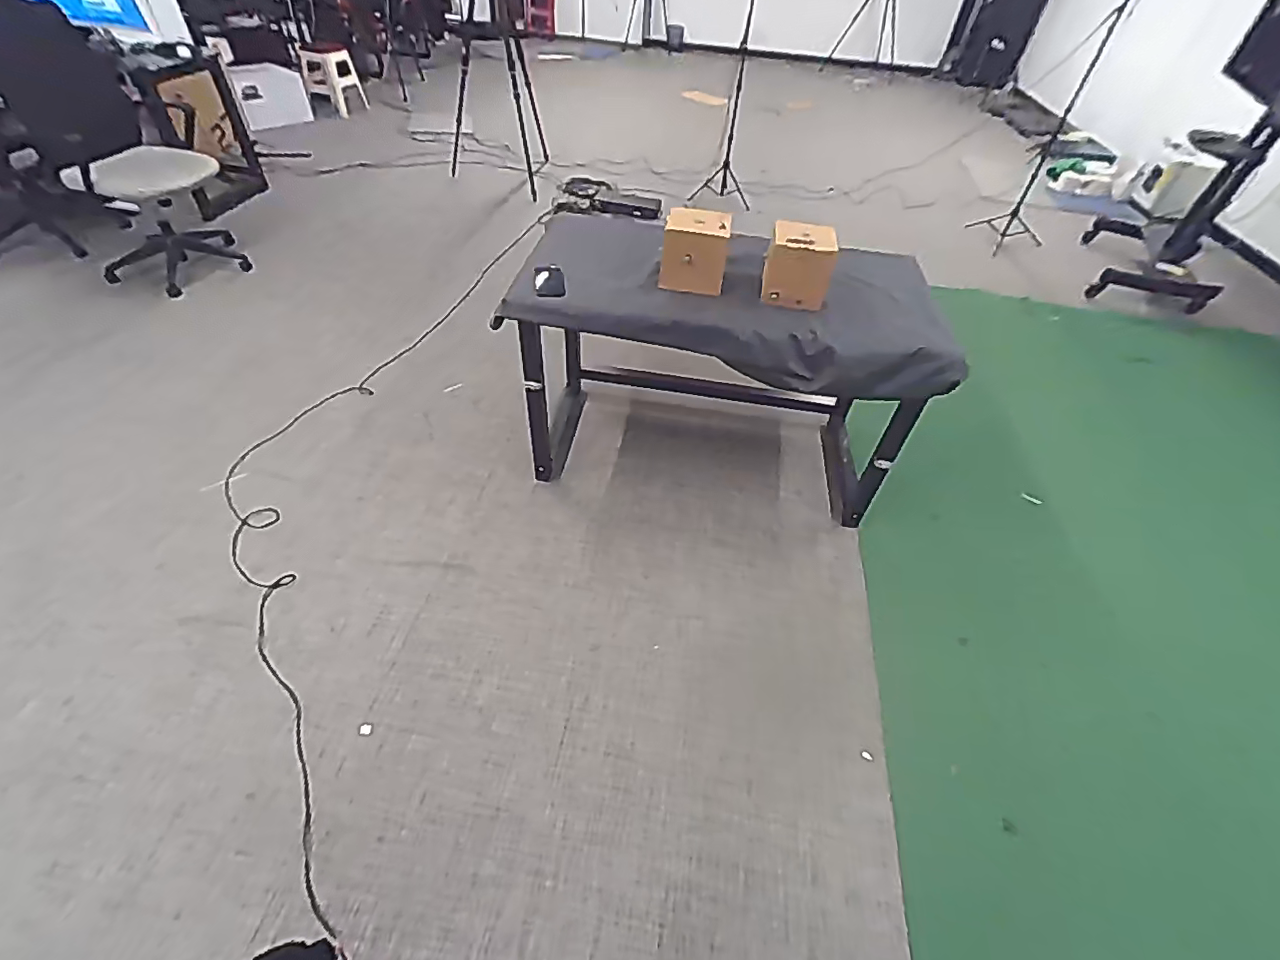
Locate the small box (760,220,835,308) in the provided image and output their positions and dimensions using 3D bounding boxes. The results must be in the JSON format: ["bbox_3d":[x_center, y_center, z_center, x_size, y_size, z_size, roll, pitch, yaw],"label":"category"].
[{"bbox_3d":[0.437,-0.605,1.518,0.168,0.176,0.179,10,46,4],"label":"small box"}]

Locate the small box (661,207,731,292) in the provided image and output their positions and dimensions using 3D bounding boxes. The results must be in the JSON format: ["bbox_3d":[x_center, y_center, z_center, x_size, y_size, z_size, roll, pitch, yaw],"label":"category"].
[{"bbox_3d":[0.156,-0.653,1.537,0.179,0.176,0.168,8,47,3],"label":"small box"}]
